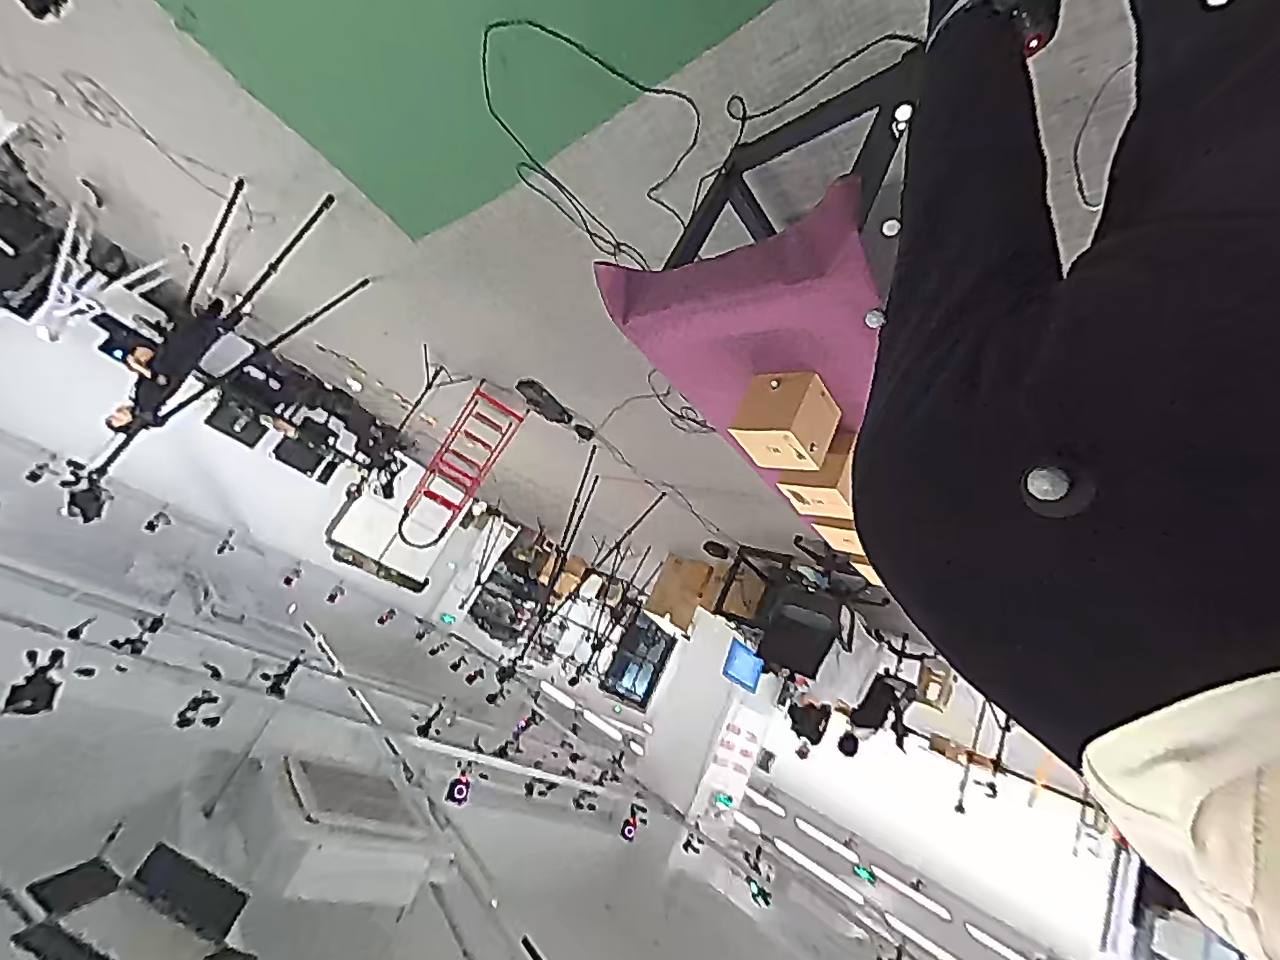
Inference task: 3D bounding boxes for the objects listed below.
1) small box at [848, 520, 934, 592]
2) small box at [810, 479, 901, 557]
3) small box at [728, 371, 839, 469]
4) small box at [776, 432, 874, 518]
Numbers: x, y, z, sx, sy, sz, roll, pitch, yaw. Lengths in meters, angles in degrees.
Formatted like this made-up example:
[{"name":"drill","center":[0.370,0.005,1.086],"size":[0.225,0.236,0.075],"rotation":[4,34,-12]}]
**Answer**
[{"name":"small box","center":[0.806,0.233,1.729],"size":[0.168,0.176,0.179],"rotation":[38,159,-32]},{"name":"small box","center":[0.640,0.102,1.597],"size":[0.179,0.176,0.168],"rotation":[7,154,48]},{"name":"small box","center":[0.349,-0.148,1.307],"size":[0.179,0.176,0.168],"rotation":[9,156,47]},{"name":"small box","center":[0.500,-0.021,1.453],"size":[0.179,0.176,0.168],"rotation":[7,154,46]}]
